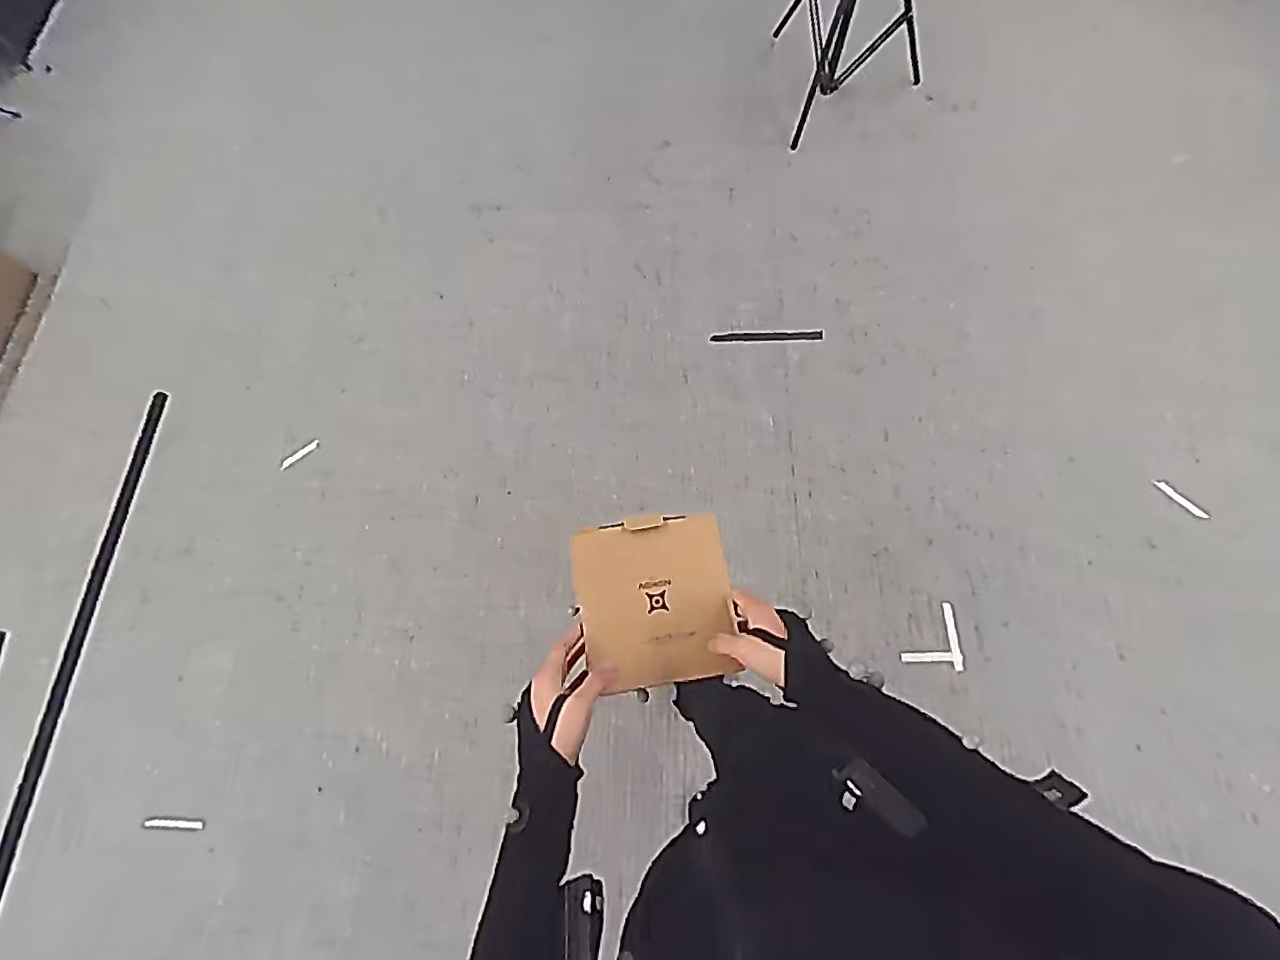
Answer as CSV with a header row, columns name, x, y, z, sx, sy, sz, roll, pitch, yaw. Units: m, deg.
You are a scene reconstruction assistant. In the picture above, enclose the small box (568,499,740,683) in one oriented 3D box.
name,x,y,z,sx,sy,sz,roll,pitch,yaw
small box,0.002,0.139,0.652,0.168,0.176,0.179,-7,69,-9
